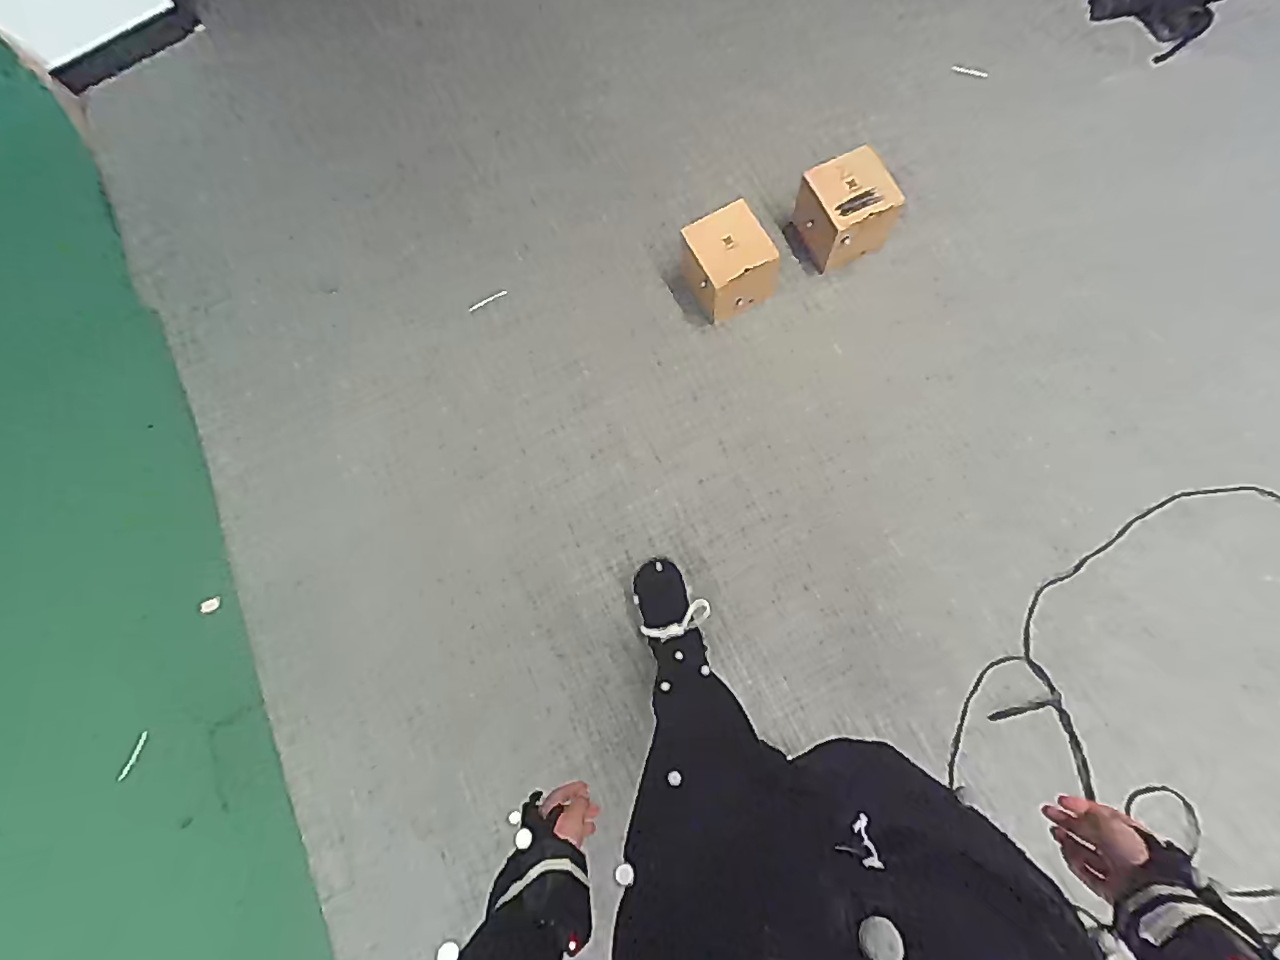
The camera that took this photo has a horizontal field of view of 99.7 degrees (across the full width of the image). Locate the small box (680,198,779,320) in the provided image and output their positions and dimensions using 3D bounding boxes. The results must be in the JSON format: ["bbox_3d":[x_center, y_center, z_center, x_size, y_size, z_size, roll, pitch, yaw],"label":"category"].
[{"bbox_3d":[0.206,-0.520,1.292,0.168,0.176,0.179,-27,76,-1],"label":"small box"}]
